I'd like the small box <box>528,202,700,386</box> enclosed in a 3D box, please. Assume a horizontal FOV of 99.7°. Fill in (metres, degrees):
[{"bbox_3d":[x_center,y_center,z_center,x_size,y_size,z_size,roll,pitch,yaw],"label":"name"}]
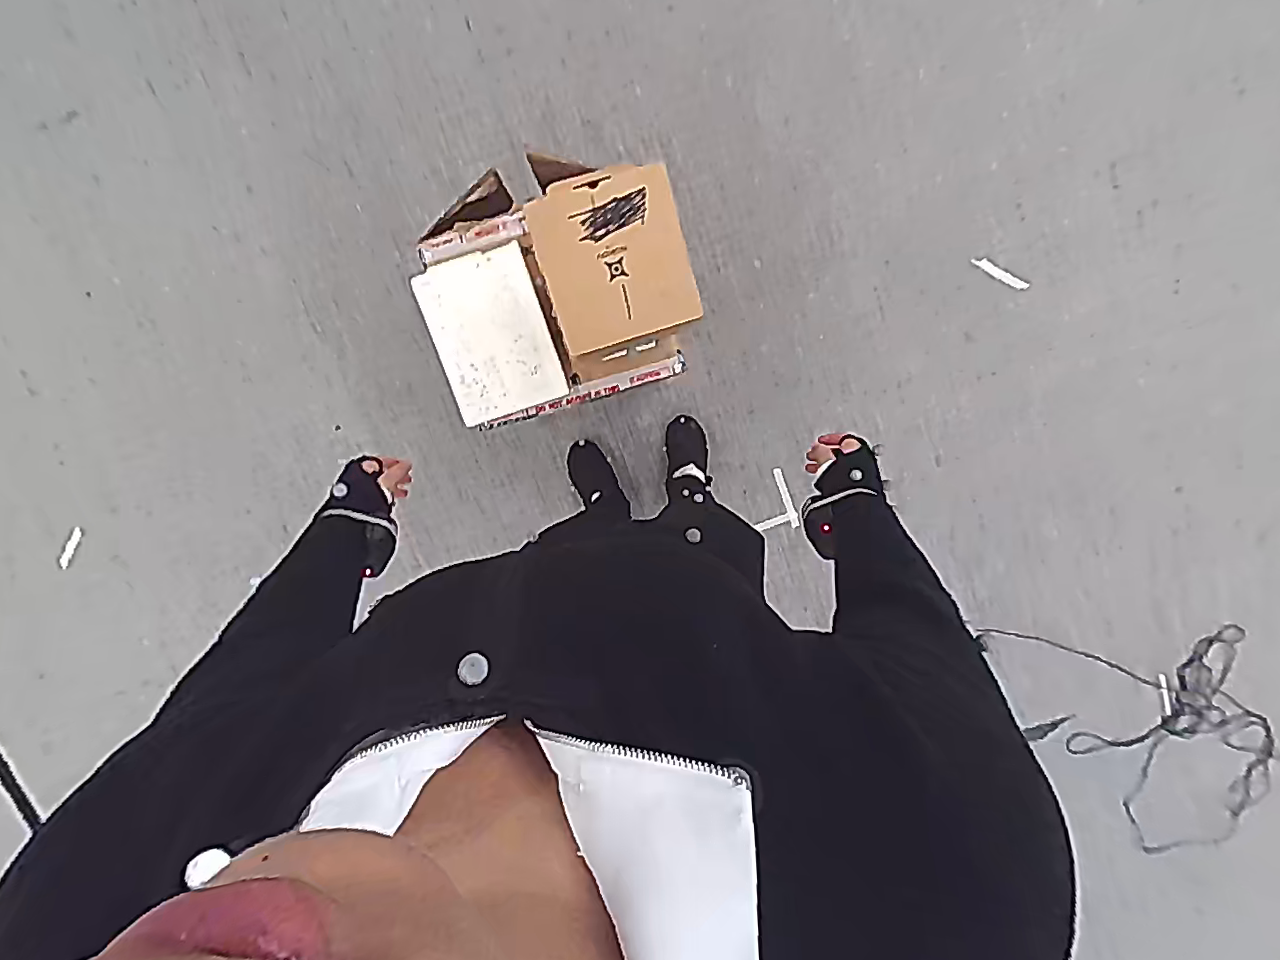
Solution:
[{"bbox_3d":[-0.033,-0.227,0.705,0.168,0.176,0.179,-17,101,0],"label":"small box"}]
